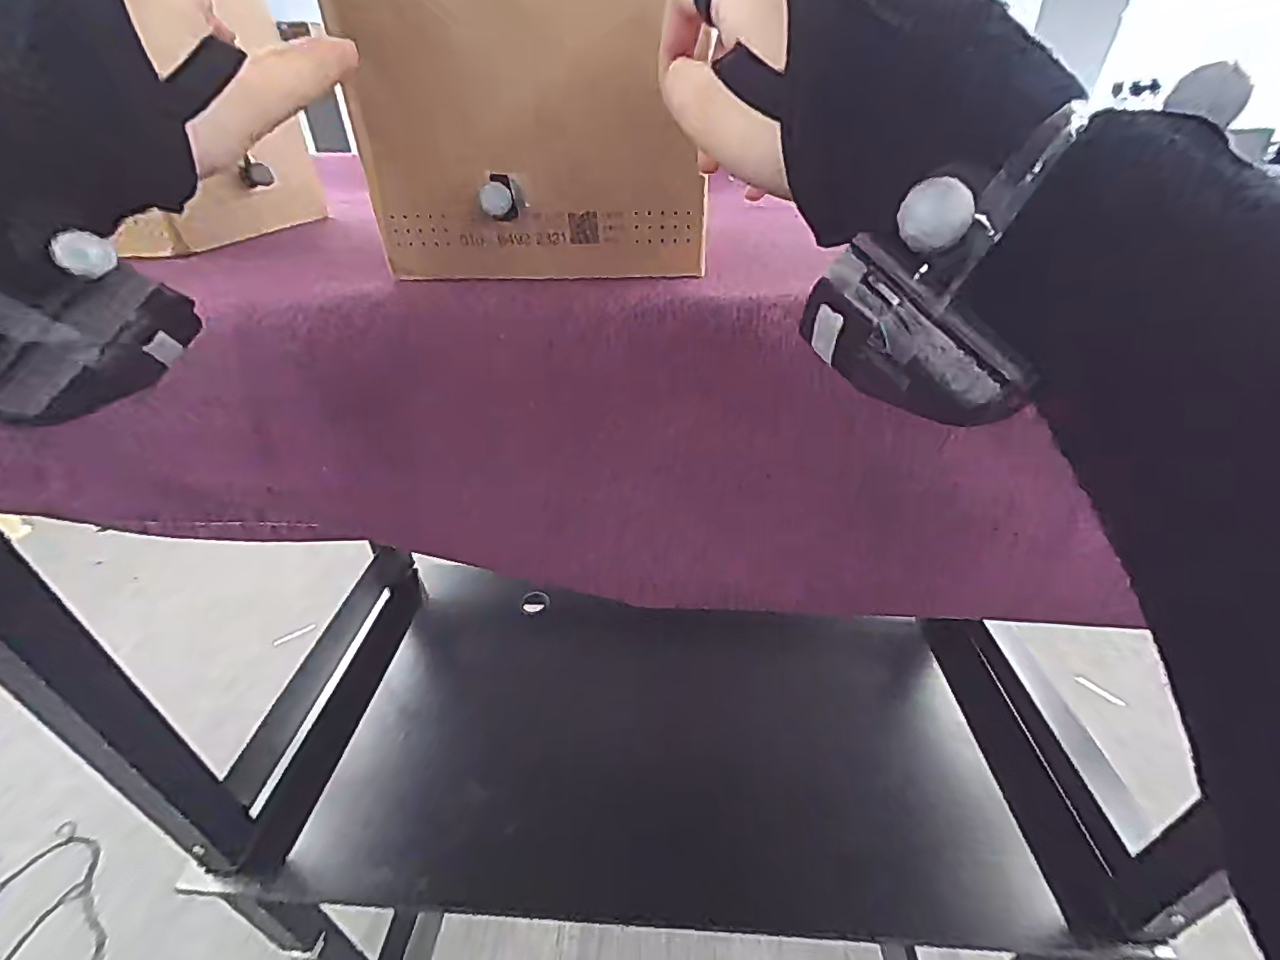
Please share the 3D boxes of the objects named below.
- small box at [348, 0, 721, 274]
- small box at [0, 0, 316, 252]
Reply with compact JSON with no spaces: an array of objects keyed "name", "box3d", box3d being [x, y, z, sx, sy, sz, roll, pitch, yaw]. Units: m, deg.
[{"name":"small box","box3d":[-0.045,-0.223,0.306,0.168,0.176,0.179,0,34,2]},{"name":"small box","box3d":[-0.357,-0.262,0.369,0.168,0.176,0.179,1,33,3]}]
